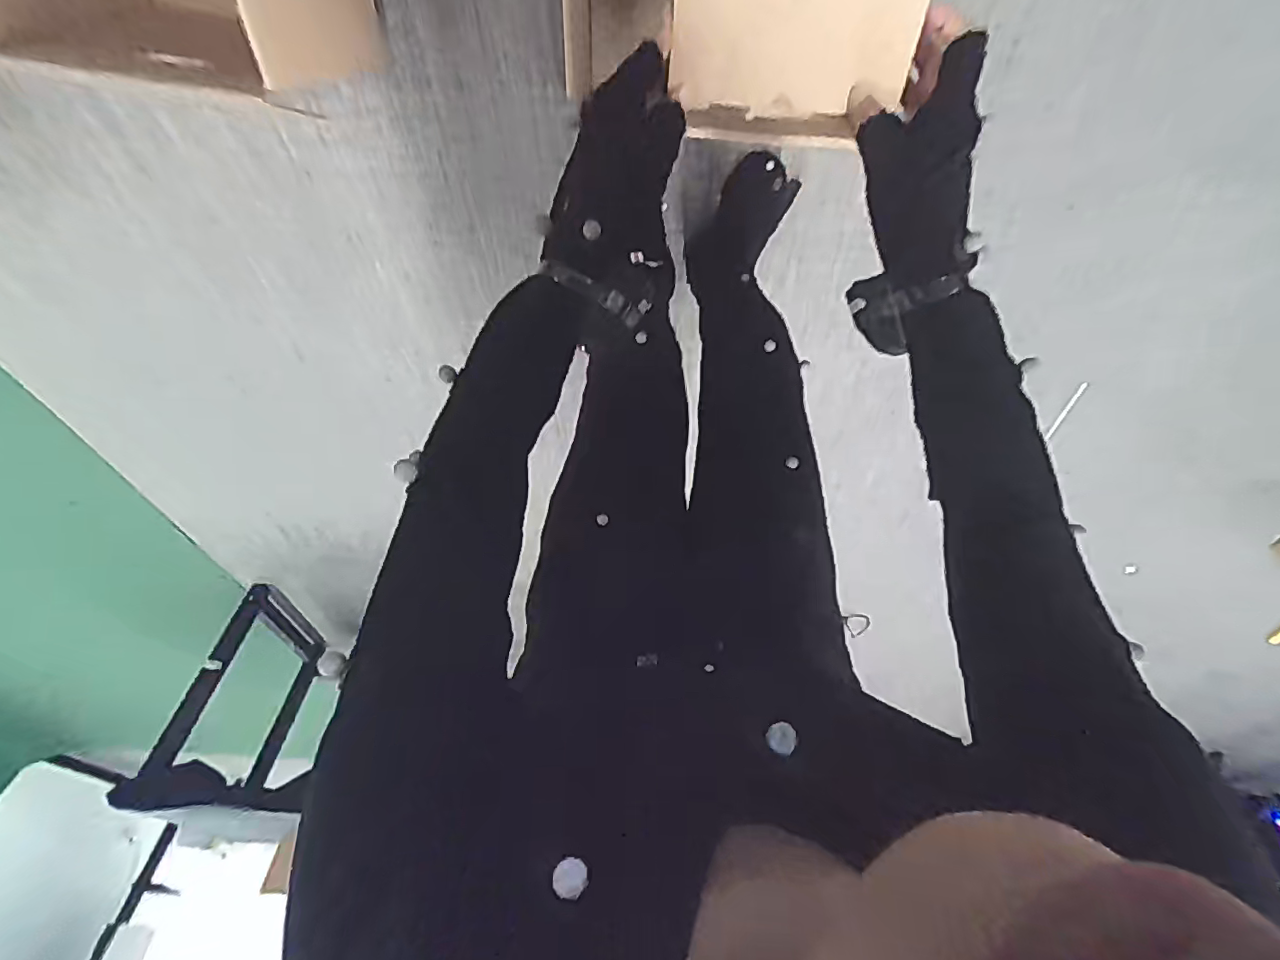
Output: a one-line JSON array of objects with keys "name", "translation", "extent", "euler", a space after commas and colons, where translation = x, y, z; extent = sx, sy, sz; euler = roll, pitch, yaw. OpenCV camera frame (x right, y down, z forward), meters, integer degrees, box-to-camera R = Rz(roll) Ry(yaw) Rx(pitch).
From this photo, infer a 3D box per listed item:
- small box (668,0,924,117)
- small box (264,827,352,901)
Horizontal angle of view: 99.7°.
[{"name": "small box", "translation": [0.113, -0.389, 0.402], "extent": [0.168, 0.176, 0.179], "euler": [6, 130, 3]}, {"name": "small box", "translation": [-1.072, 1.257, 1.766], "extent": [0.168, 0.176, 0.179], "euler": [8, 137, -3]}]
